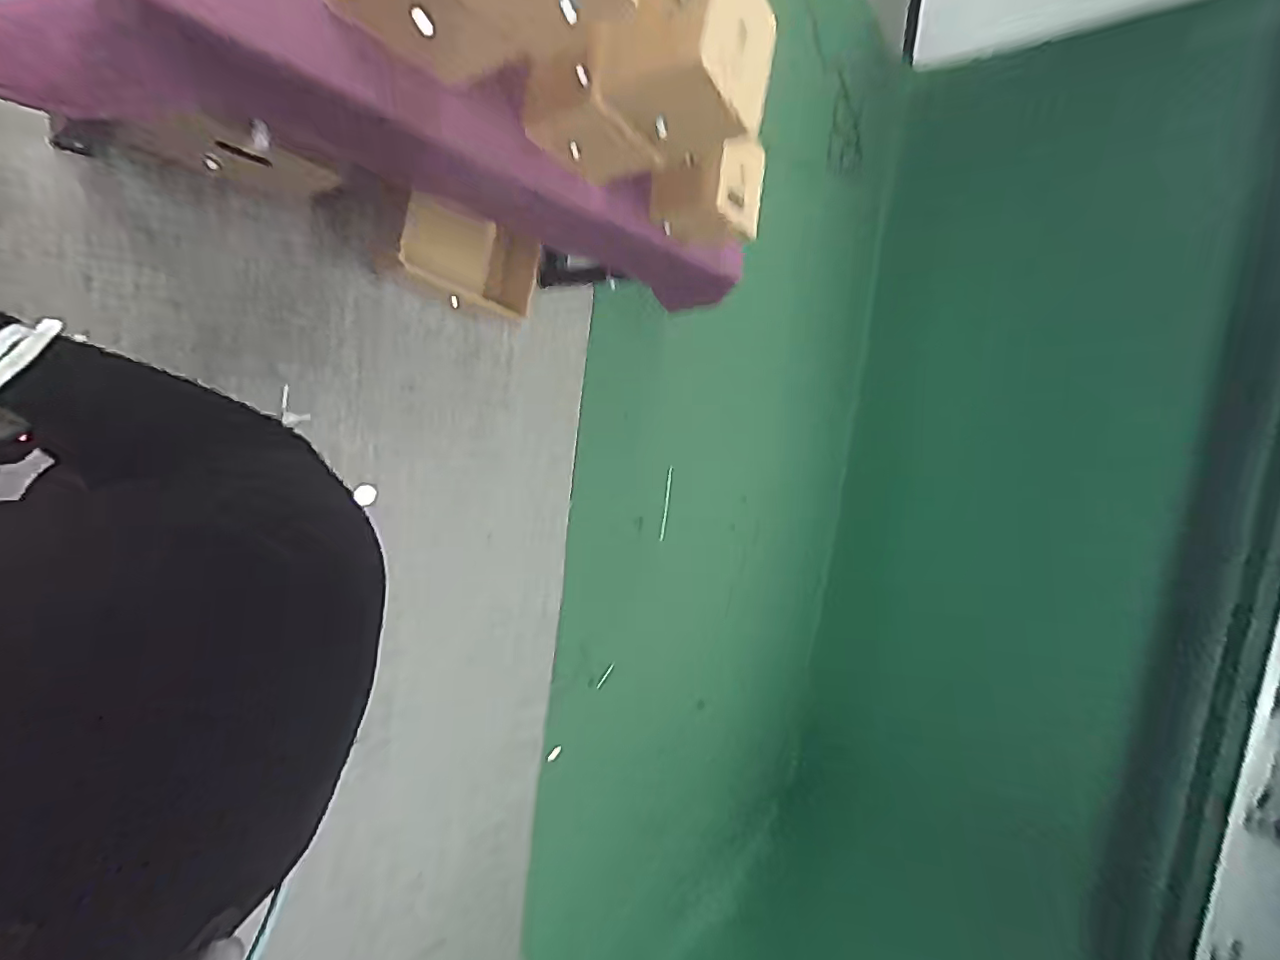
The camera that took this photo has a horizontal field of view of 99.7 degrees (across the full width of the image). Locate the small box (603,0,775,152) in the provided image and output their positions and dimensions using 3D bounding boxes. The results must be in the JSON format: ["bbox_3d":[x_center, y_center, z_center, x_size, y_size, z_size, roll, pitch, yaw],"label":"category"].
[{"bbox_3d":[0.068,-0.609,0.768,0.168,0.176,0.179,9,92,-52],"label":"small box"}]

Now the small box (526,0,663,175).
[{"bbox_3d":[-0.062,-0.628,0.868,0.168,0.176,0.179,7,94,-52],"label":"small box"}]

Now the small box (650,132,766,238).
[{"bbox_3d":[0.138,-0.621,1.119,0.168,0.176,0.179,-1,99,-52],"label":"small box"}]

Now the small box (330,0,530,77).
[{"bbox_3d":[-0.245,-0.620,0.633,0.179,0.176,0.168,0,100,-51],"label":"small box"}]
